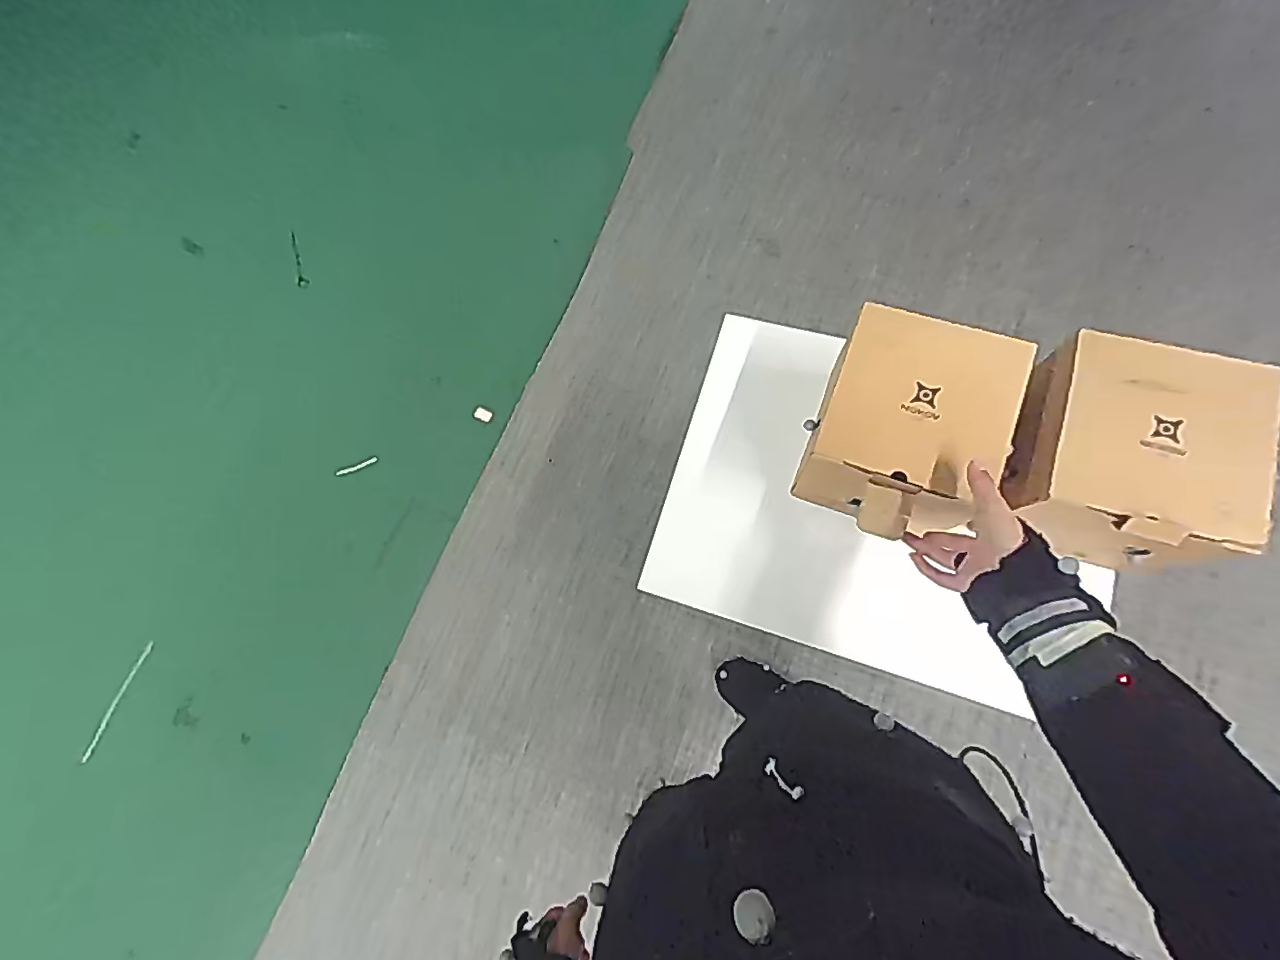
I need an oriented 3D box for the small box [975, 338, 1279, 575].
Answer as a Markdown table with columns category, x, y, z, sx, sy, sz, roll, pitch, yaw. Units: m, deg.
| category | x | y | z | sx | sy | sz | roll | pitch | yaw |
| --- | --- | --- | --- | --- | --- | --- | --- | --- | --- |
| small box | 0.473 | -0.012 | 0.551 | 0.168 | 0.176 | 0.179 | 16 | 77 | 12 |
